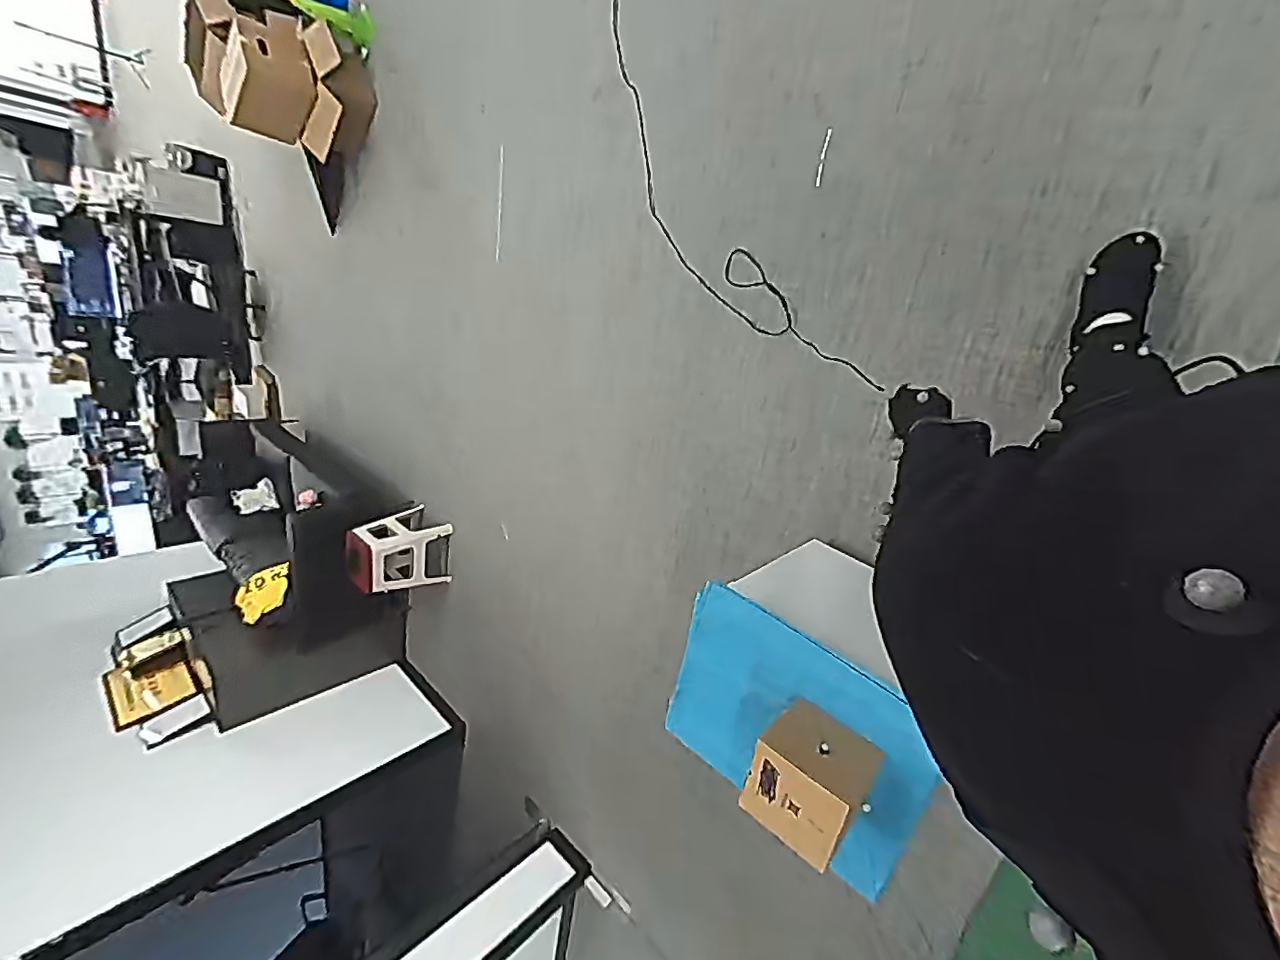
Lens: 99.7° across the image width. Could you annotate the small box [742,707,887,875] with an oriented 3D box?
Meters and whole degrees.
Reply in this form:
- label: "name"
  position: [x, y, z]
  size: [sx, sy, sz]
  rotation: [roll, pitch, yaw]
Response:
- label: "small box"
  position: [0.318, 0.546, 0.985]
  size: [0.179, 0.176, 0.168]
  rotation: [25, 116, 35]
